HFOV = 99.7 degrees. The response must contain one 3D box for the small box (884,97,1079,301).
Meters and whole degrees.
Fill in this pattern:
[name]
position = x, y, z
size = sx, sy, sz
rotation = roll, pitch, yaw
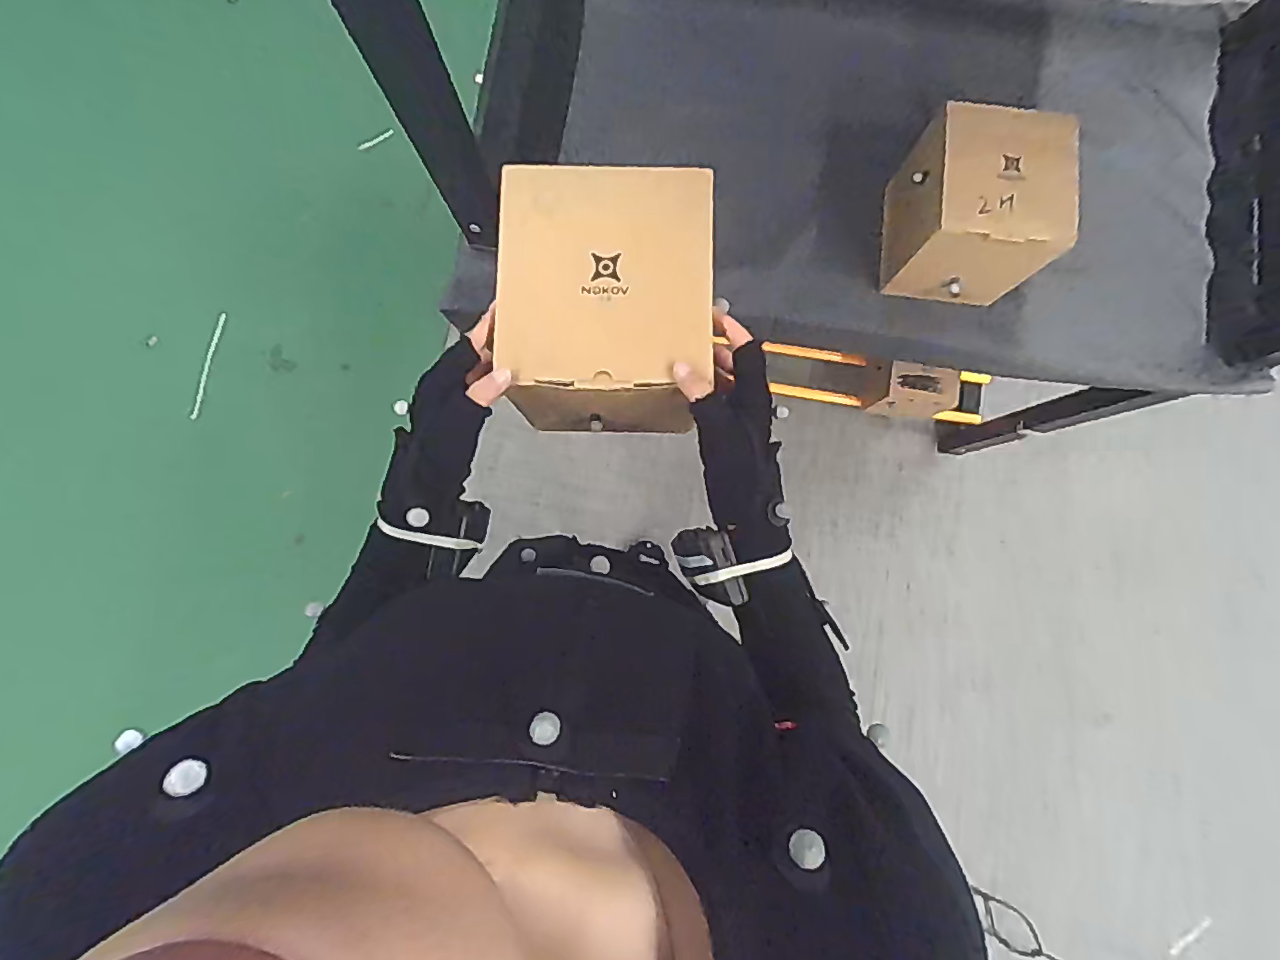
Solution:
[small box]
position = 0.453, -0.372, 0.741
size = 0.168, 0.176, 0.179
rotation = 7, 82, 1
